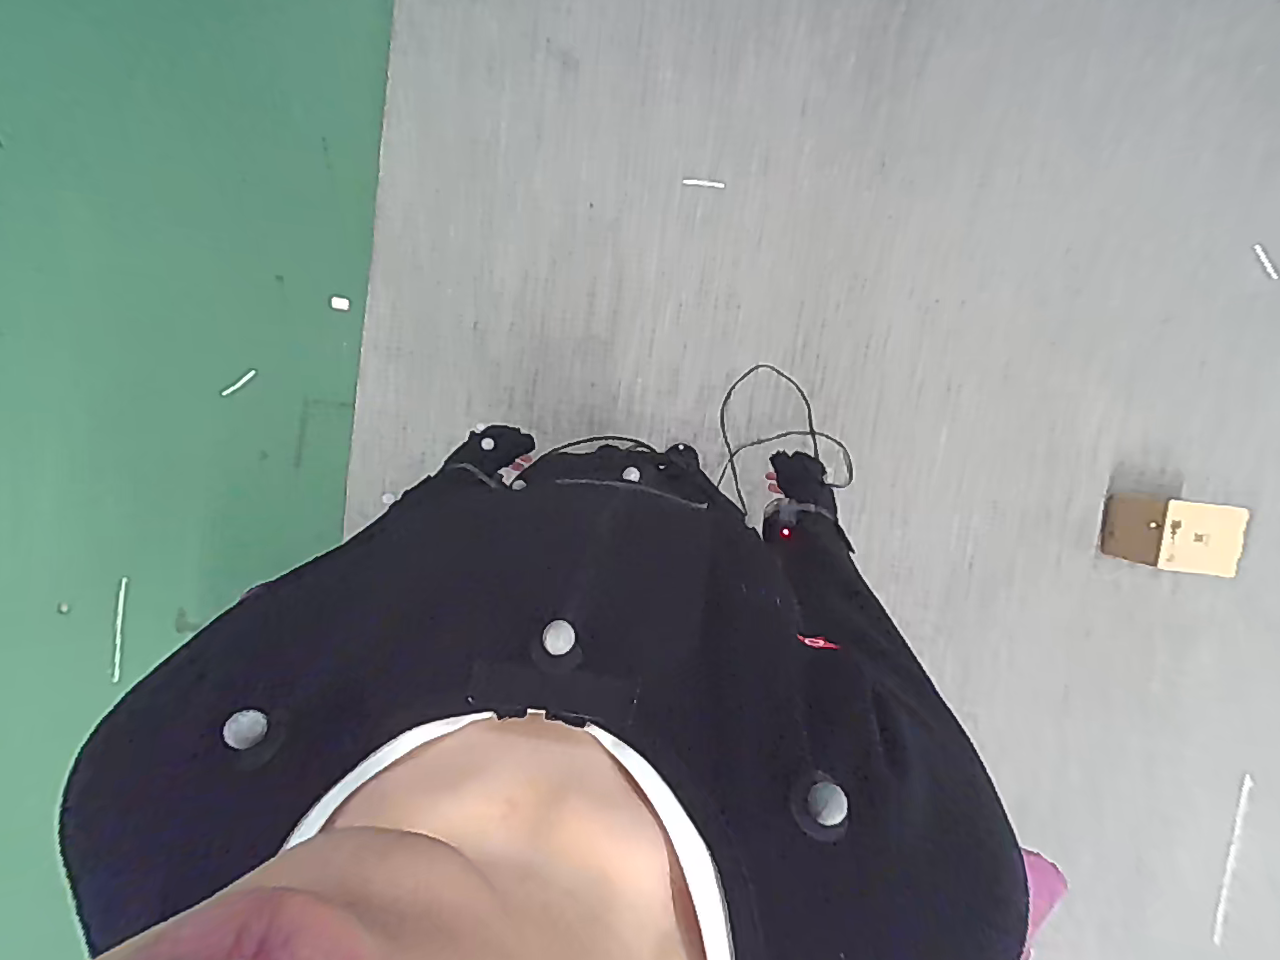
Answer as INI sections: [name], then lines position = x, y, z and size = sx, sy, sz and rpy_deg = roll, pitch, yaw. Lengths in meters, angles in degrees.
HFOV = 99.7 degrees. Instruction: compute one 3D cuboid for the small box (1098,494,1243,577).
[small box]
position = 1.291, 0.129, 1.328
size = 0.179, 0.176, 0.168
rpy_deg = 7, 94, 2
